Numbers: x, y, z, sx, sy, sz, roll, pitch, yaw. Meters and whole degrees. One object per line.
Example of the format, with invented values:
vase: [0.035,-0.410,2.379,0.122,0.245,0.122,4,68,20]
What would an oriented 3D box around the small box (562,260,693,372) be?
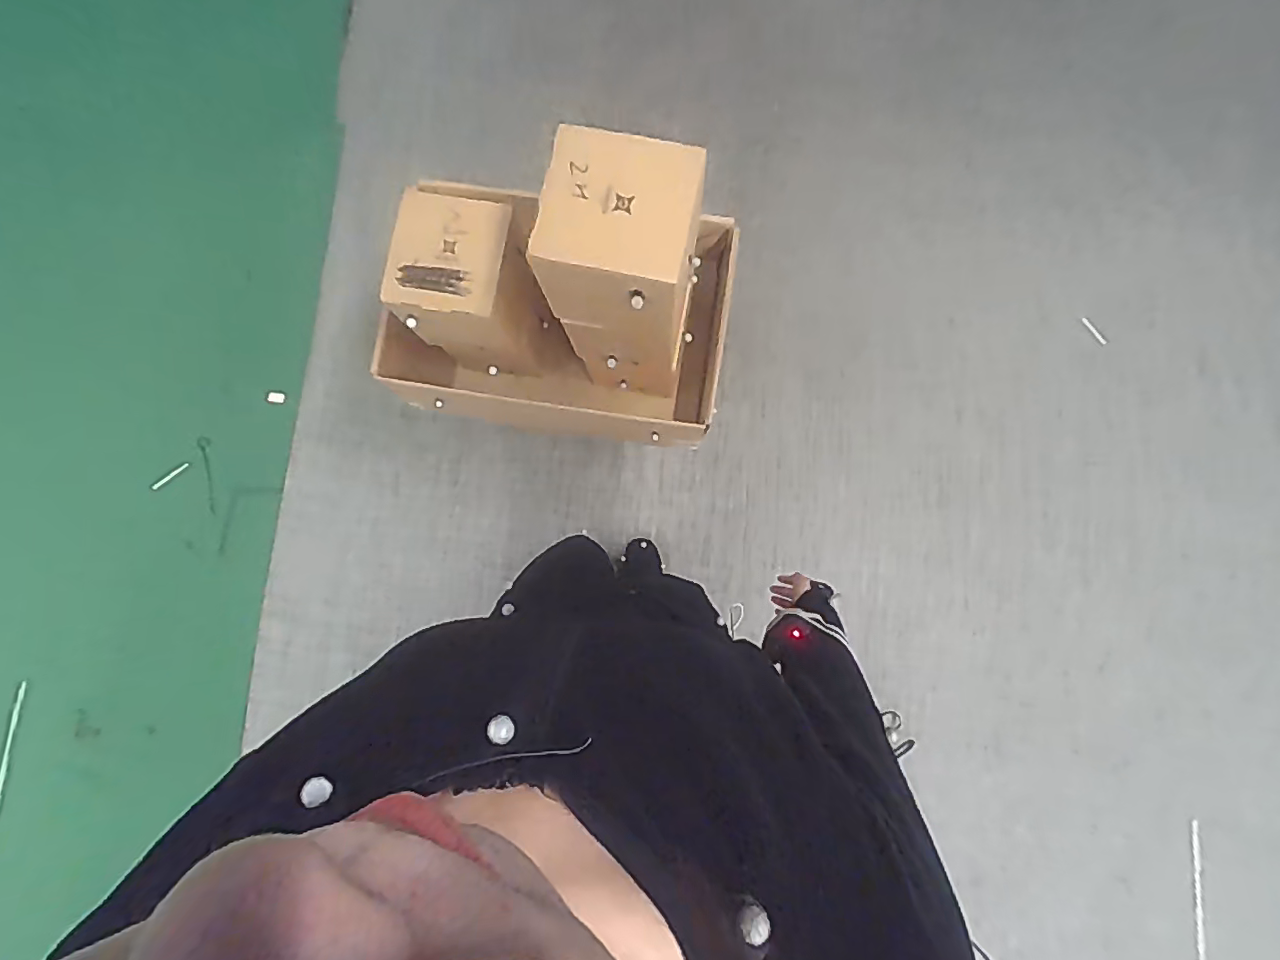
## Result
small box: [-0.013,-0.289,0.849,0.168,0.176,0.179,11,85,4]

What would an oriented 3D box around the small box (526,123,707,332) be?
small box: [-0.021,-0.304,0.685,0.179,0.176,0.168,13,84,6]
